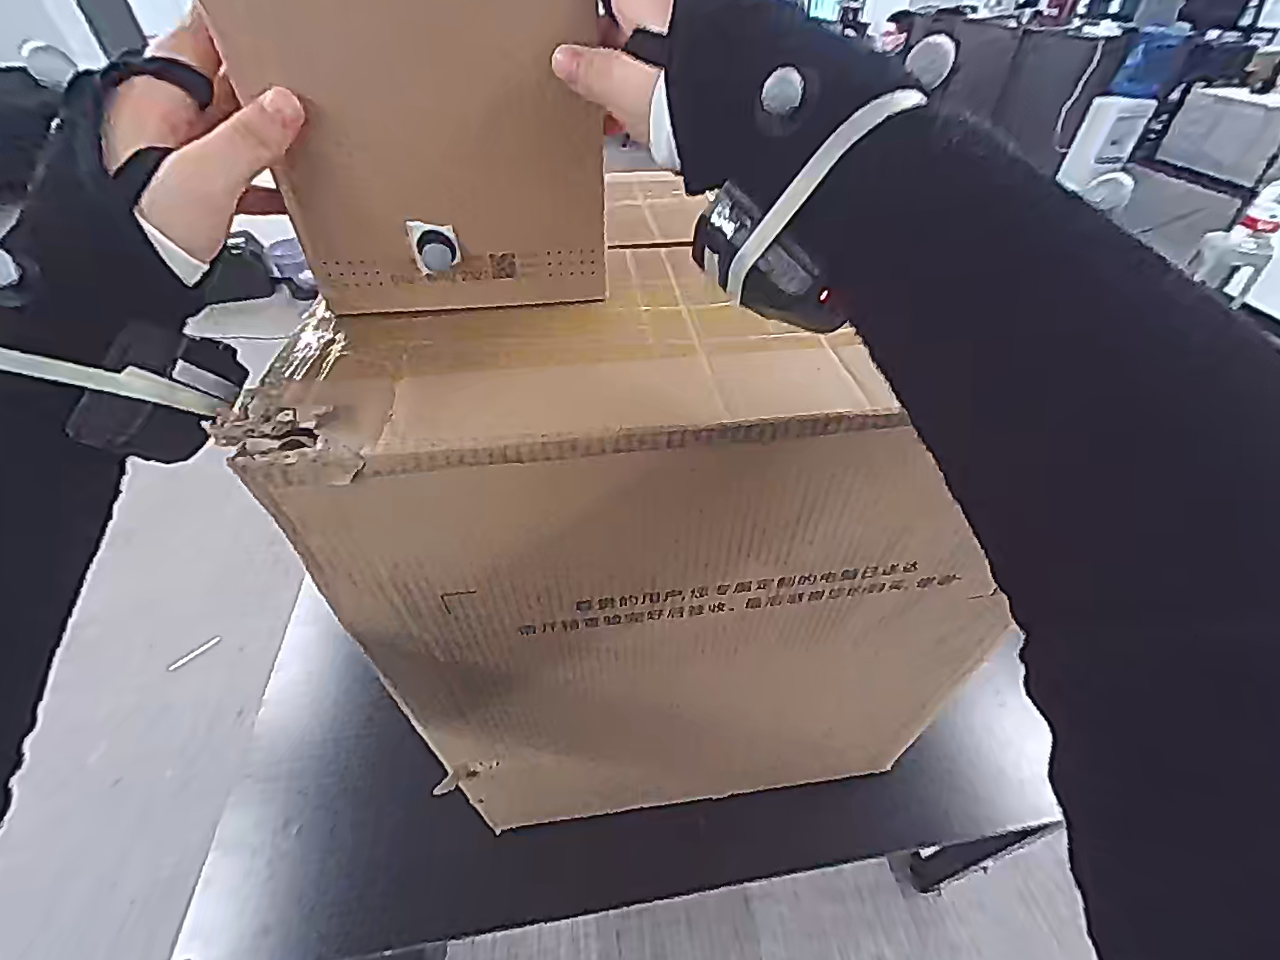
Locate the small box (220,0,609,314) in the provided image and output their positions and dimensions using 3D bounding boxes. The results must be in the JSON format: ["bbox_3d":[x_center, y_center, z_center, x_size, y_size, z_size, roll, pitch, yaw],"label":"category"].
[{"bbox_3d":[-0.111,-0.219,0.327,0.168,0.176,0.179,-7,45,-7],"label":"small box"}]
